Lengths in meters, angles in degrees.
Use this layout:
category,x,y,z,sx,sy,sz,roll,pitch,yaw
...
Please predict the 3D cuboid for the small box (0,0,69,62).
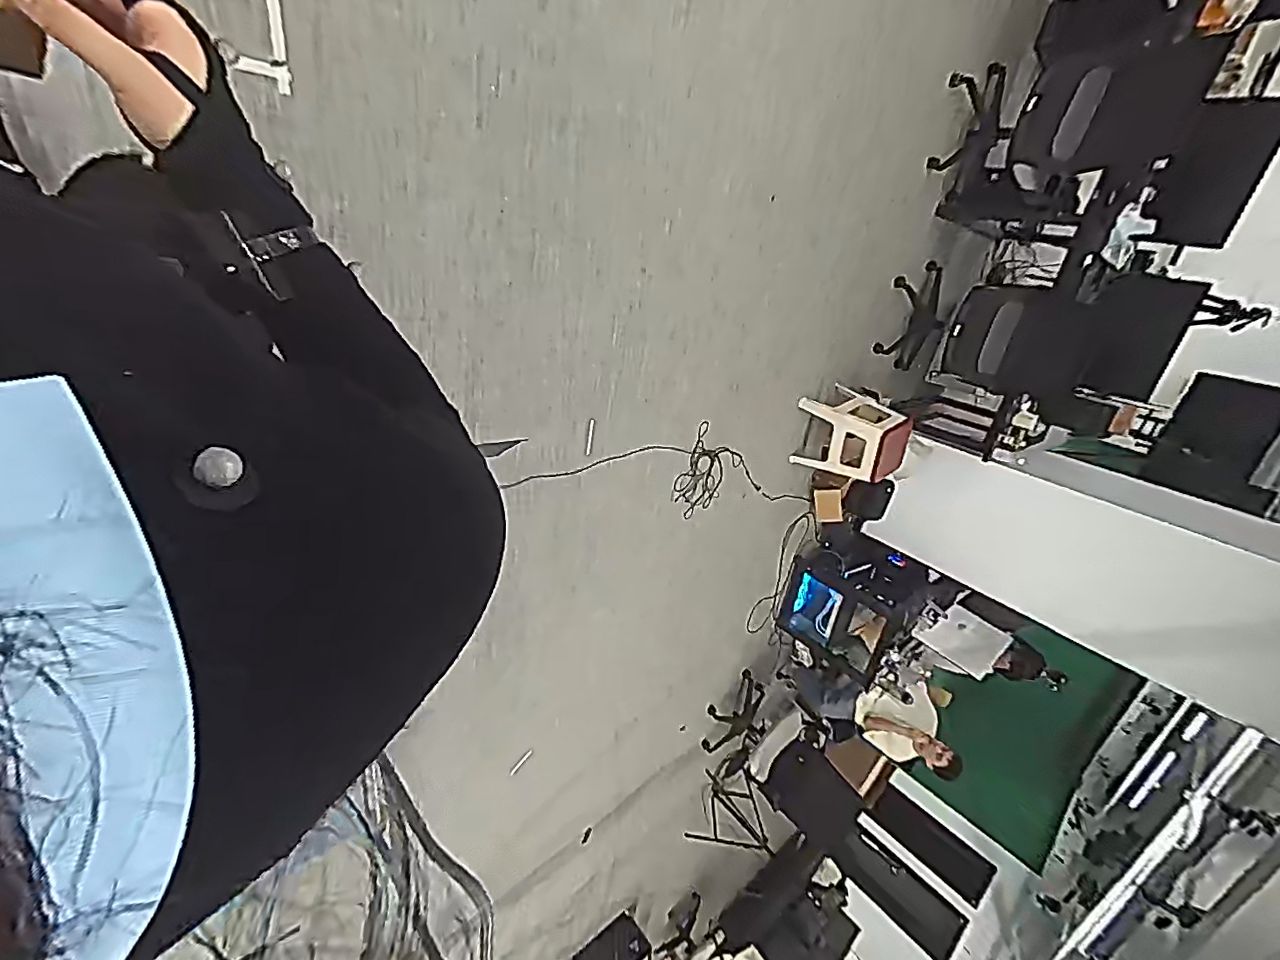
category,x,y,z,sx,sy,sz,roll,pitch,yaw
small box,-0.420,-0.354,0.266,0.168,0.176,0.179,-12,114,-46
